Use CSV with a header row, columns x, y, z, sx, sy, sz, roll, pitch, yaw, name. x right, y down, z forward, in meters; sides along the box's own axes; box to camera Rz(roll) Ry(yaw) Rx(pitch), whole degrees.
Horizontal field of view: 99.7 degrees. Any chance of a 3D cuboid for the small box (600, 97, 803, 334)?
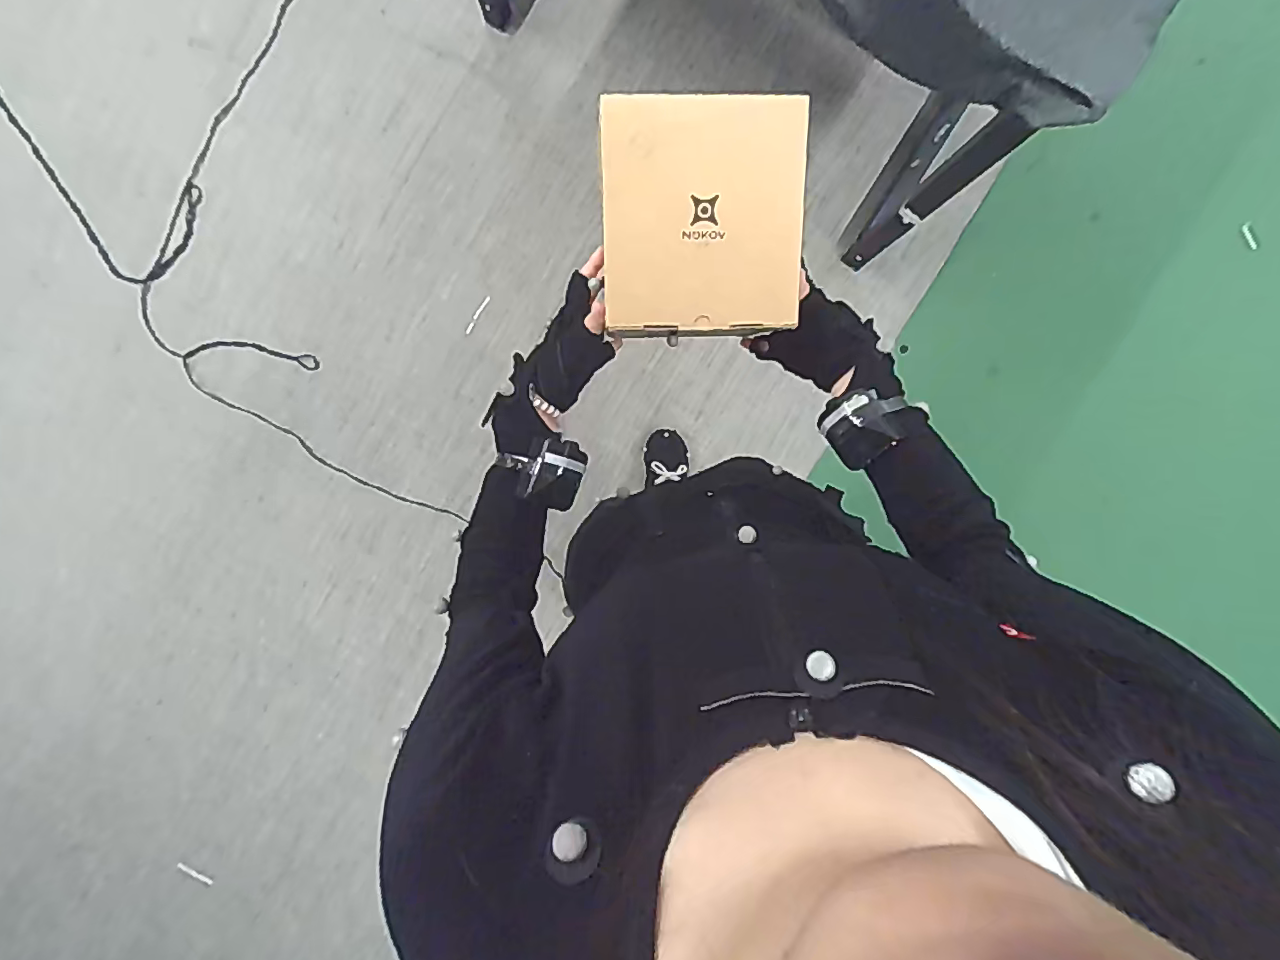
x,y,z,sx,sy,sz,roll,pitch,yaw,name
0.045,-0.235,0.525,0.168,0.176,0.179,-1,104,-4,small box
